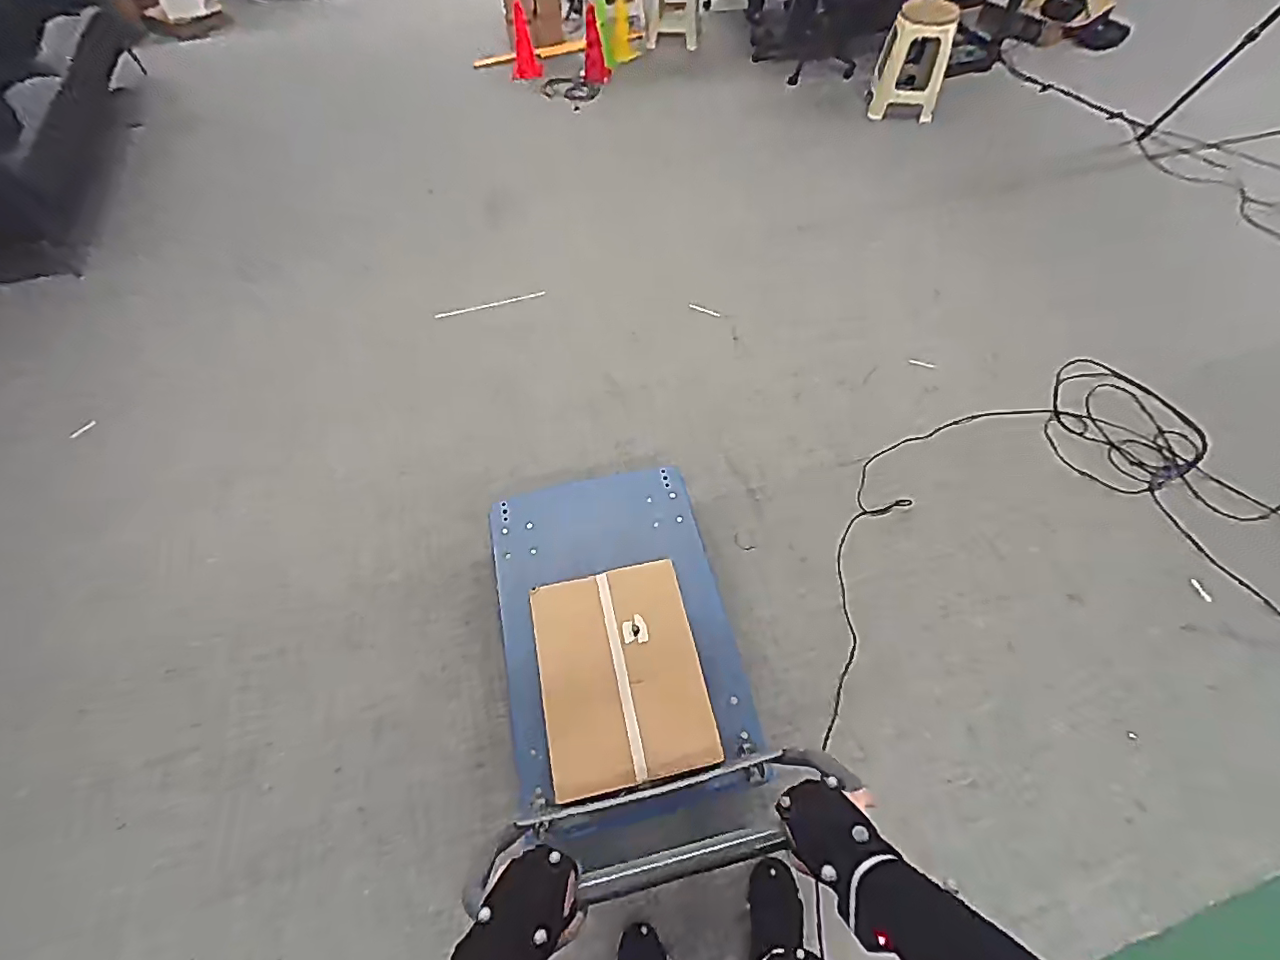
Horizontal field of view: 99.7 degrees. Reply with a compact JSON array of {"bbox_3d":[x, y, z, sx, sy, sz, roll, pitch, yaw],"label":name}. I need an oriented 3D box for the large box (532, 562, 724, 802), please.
[{"bbox_3d":[-0.034,0.454,1.207,0.320,0.320,0.408,-12,60,-6],"label":"large box"}]
